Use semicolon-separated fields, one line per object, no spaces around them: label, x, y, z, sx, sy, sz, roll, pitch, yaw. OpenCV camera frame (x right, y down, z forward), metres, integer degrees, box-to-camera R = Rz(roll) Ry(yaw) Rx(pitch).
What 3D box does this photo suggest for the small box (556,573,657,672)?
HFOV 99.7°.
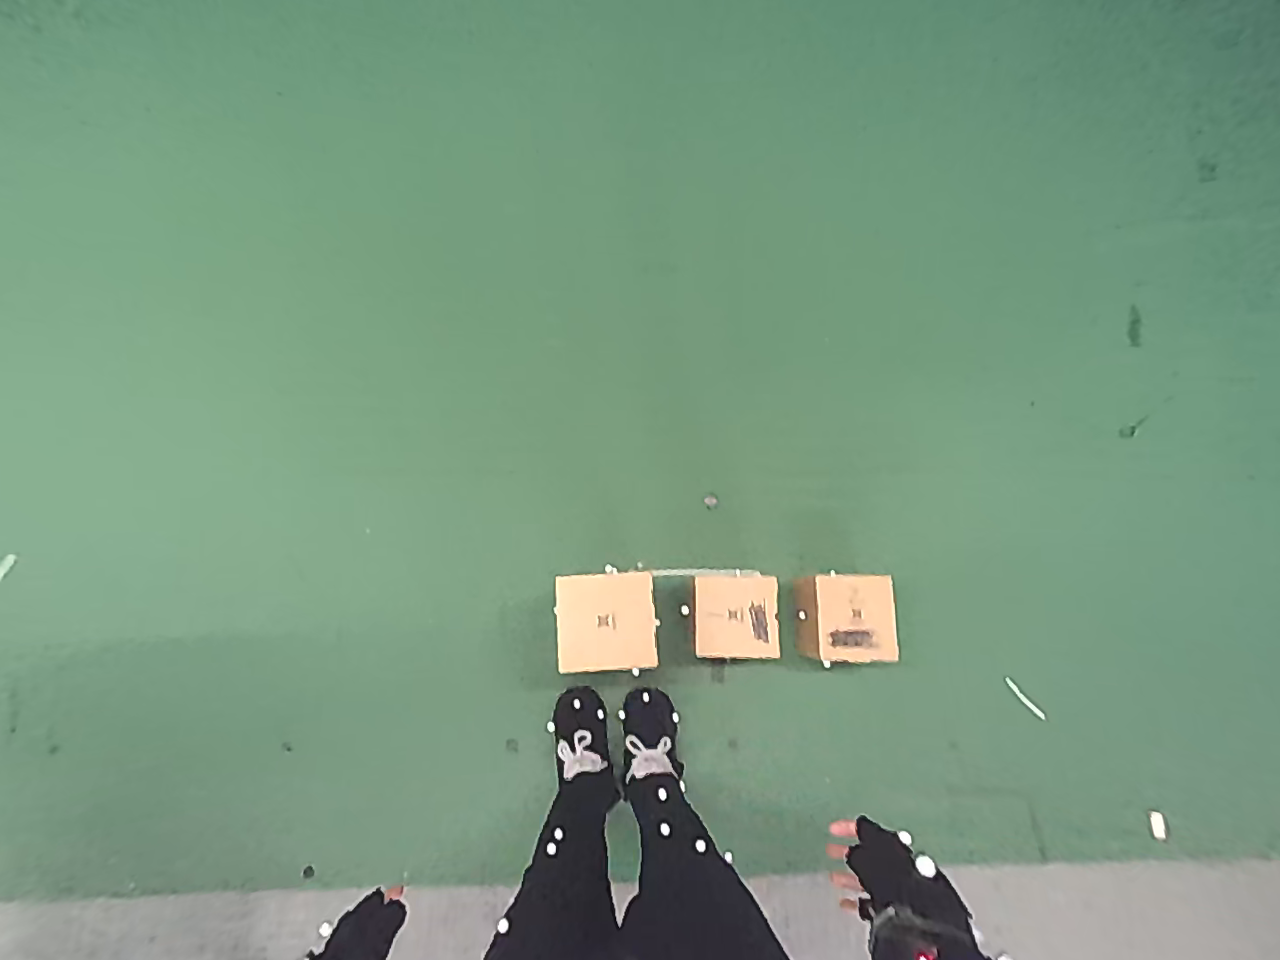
small box;-0.060;0.269;1.030;0.179;0.176;0.168;-3;78;-2
